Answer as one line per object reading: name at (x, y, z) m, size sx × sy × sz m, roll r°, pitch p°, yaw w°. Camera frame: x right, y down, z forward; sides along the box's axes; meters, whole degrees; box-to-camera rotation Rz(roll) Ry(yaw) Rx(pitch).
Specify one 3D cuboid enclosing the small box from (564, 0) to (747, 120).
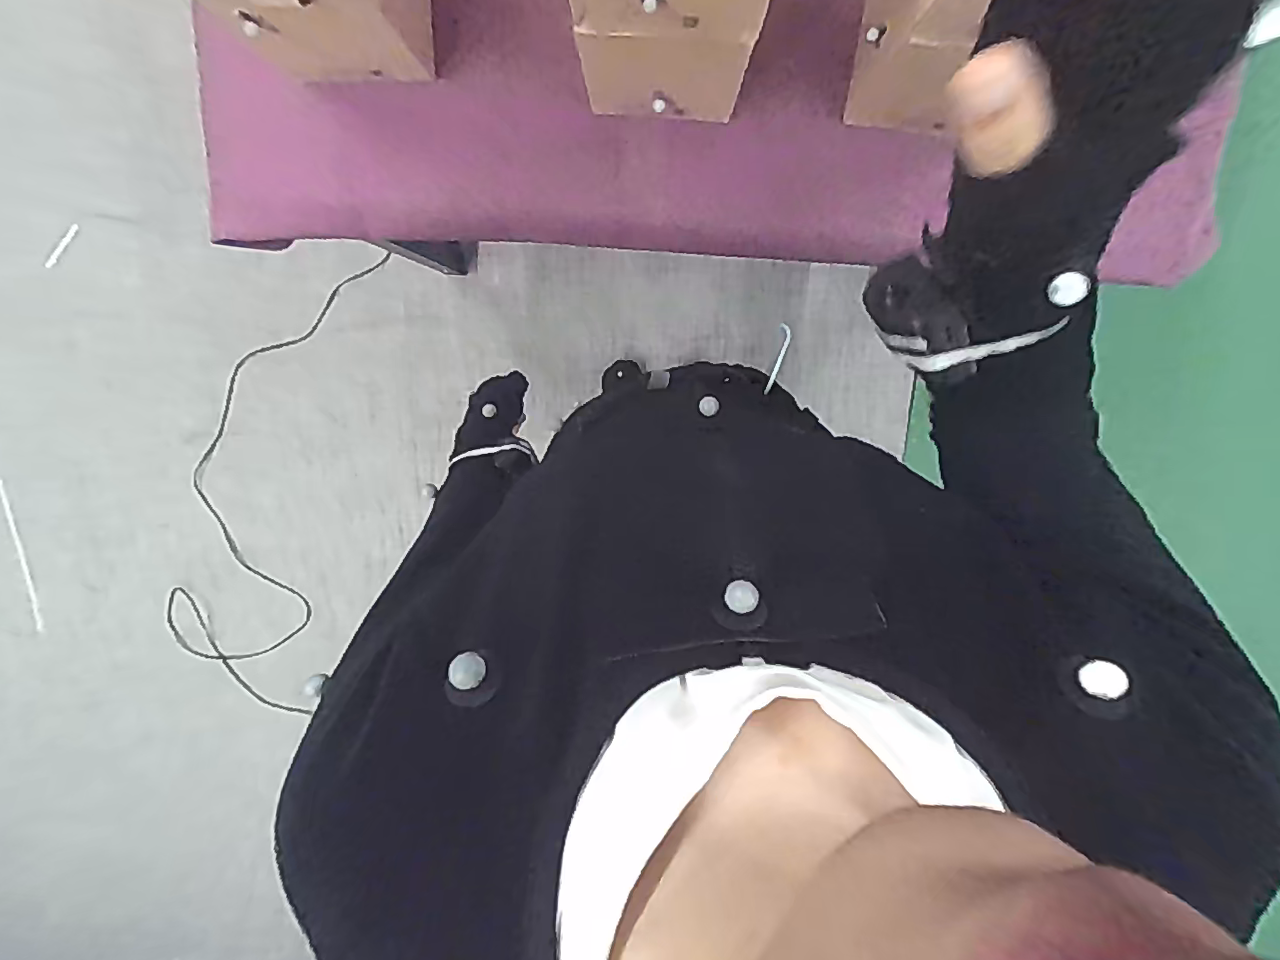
small box at (0.020, -0.498, 0.540) m, size 0.168 × 0.176 × 0.179 m, roll 4°, pitch 103°, yaw 0°

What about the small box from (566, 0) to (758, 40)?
small box at (0.018, -0.462, 0.381) m, size 0.168 × 0.176 × 0.179 m, roll 2°, pitch 103°, yaw 0°

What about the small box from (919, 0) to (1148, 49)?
small box at (0.322, -0.449, 0.379) m, size 0.168 × 0.176 × 0.179 m, roll 7°, pitch 103°, yaw -2°

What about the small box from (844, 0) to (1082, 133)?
small box at (0.322, -0.480, 0.540) m, size 0.168 × 0.176 × 0.179 m, roll 8°, pitch 102°, yaw -1°
